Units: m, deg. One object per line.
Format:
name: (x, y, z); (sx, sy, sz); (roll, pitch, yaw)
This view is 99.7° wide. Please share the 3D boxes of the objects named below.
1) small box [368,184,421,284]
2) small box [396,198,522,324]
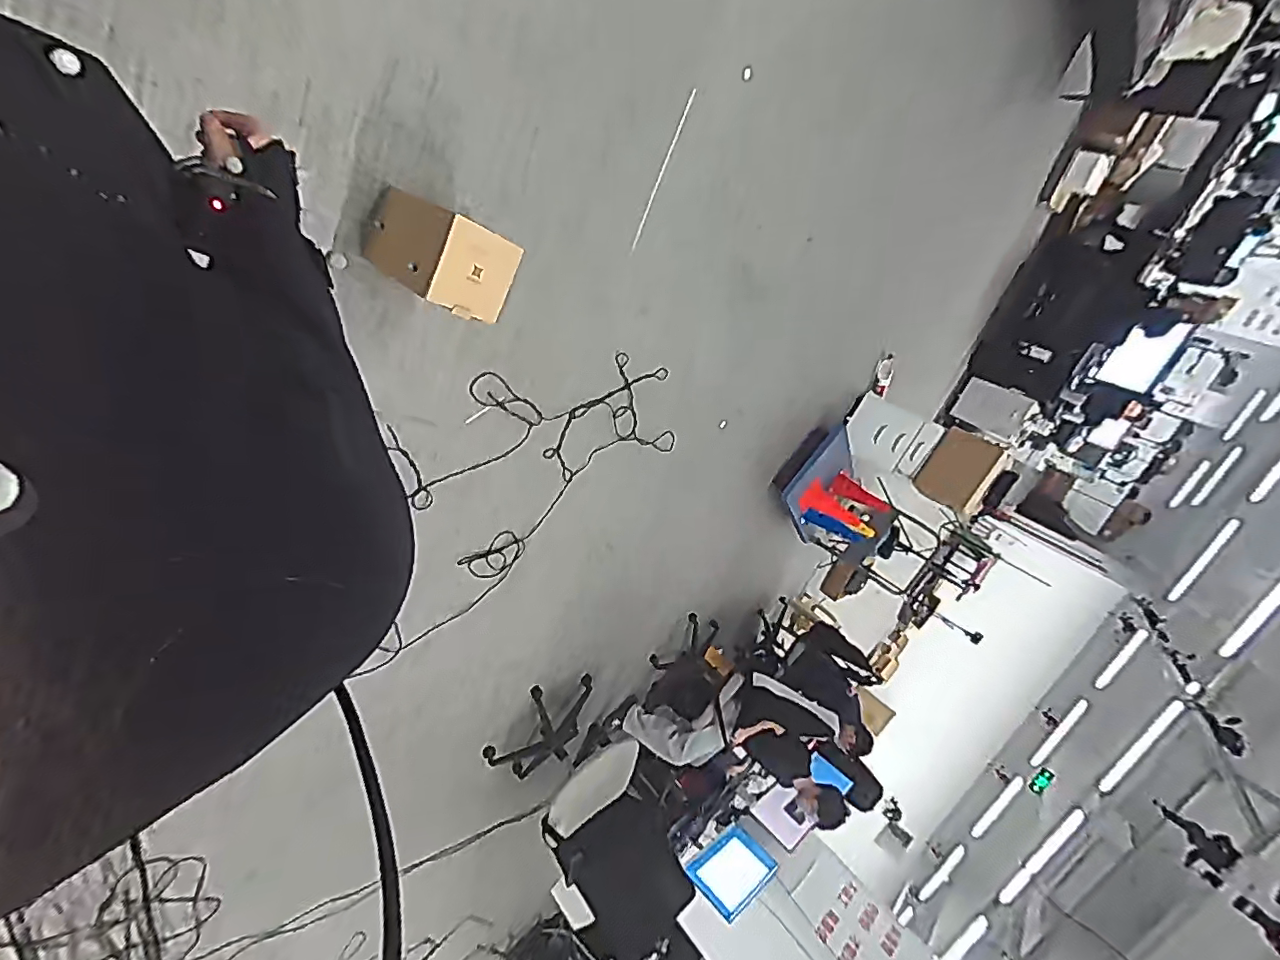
small box: (-0.490, -0.534, 1.228); (0.168, 0.176, 0.179); (10, 113, -52)
small box: (-0.384, -0.457, 1.131); (0.168, 0.176, 0.179); (7, 113, -52)
